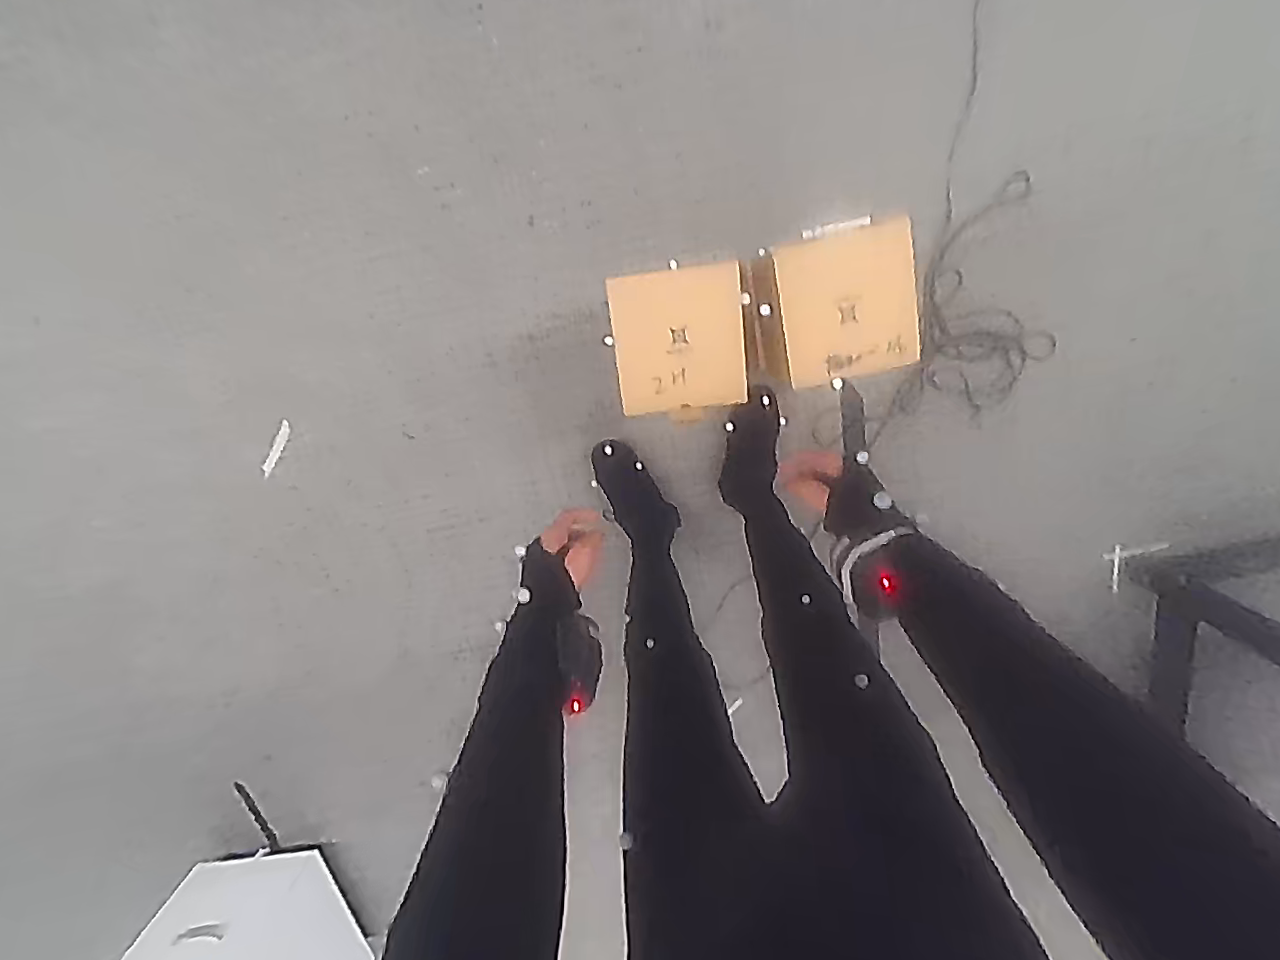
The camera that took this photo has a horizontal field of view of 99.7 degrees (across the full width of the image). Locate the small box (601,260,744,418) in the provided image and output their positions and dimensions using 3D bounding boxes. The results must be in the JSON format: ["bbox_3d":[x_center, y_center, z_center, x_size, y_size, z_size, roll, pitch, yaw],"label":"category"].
[{"bbox_3d":[0.045,-0.196,0.747,0.168,0.176,0.179,-7,109,5],"label":"small box"}]
